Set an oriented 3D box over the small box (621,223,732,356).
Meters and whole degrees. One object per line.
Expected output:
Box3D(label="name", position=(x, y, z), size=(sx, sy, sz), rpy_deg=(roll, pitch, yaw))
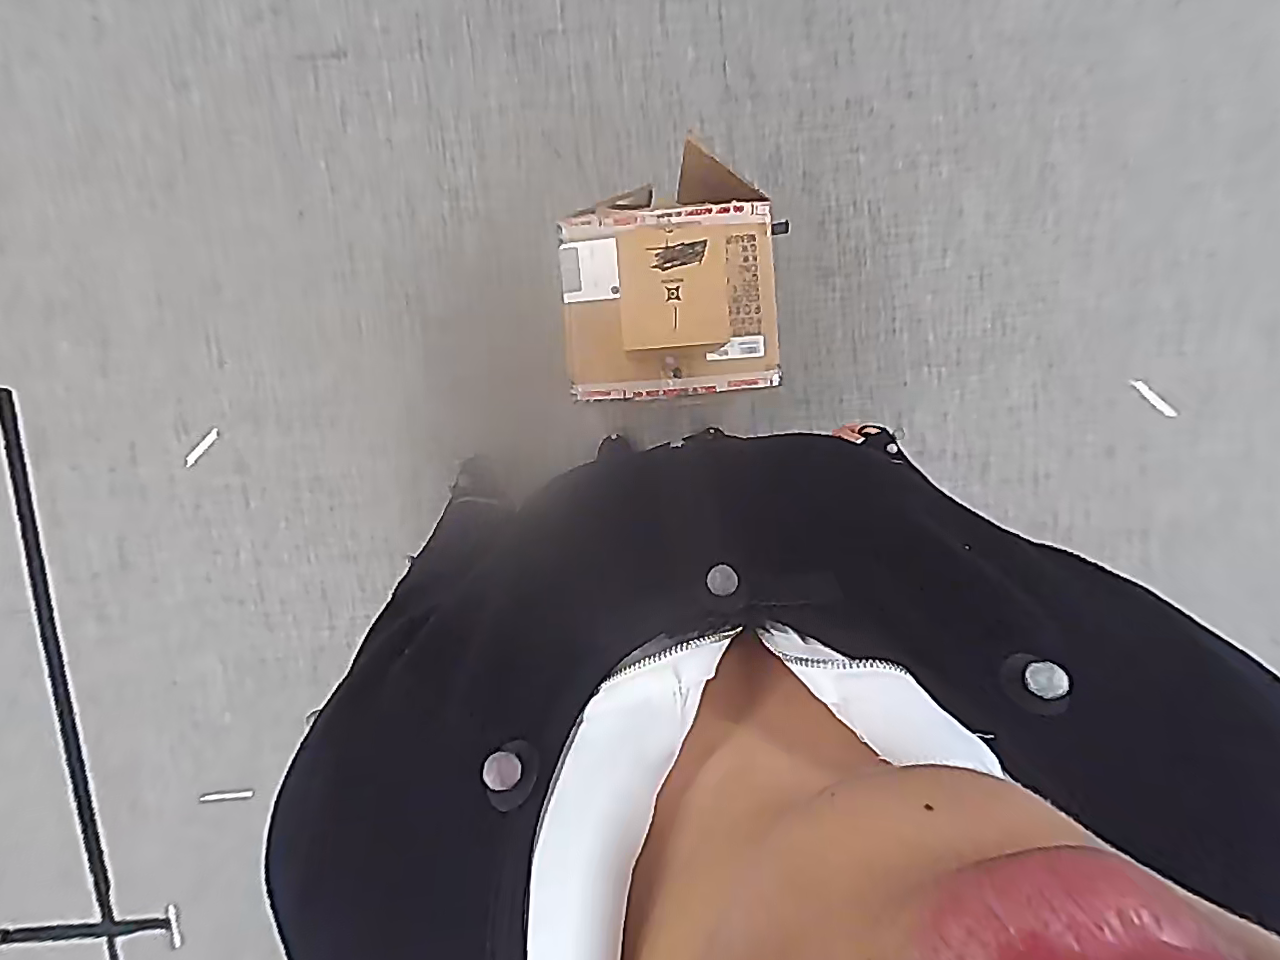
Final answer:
Box3D(label="small box", position=(0.055, -0.306, 0.898), size=(0.168, 0.176, 0.179), rpy_deg=(-4, 99, 1))
